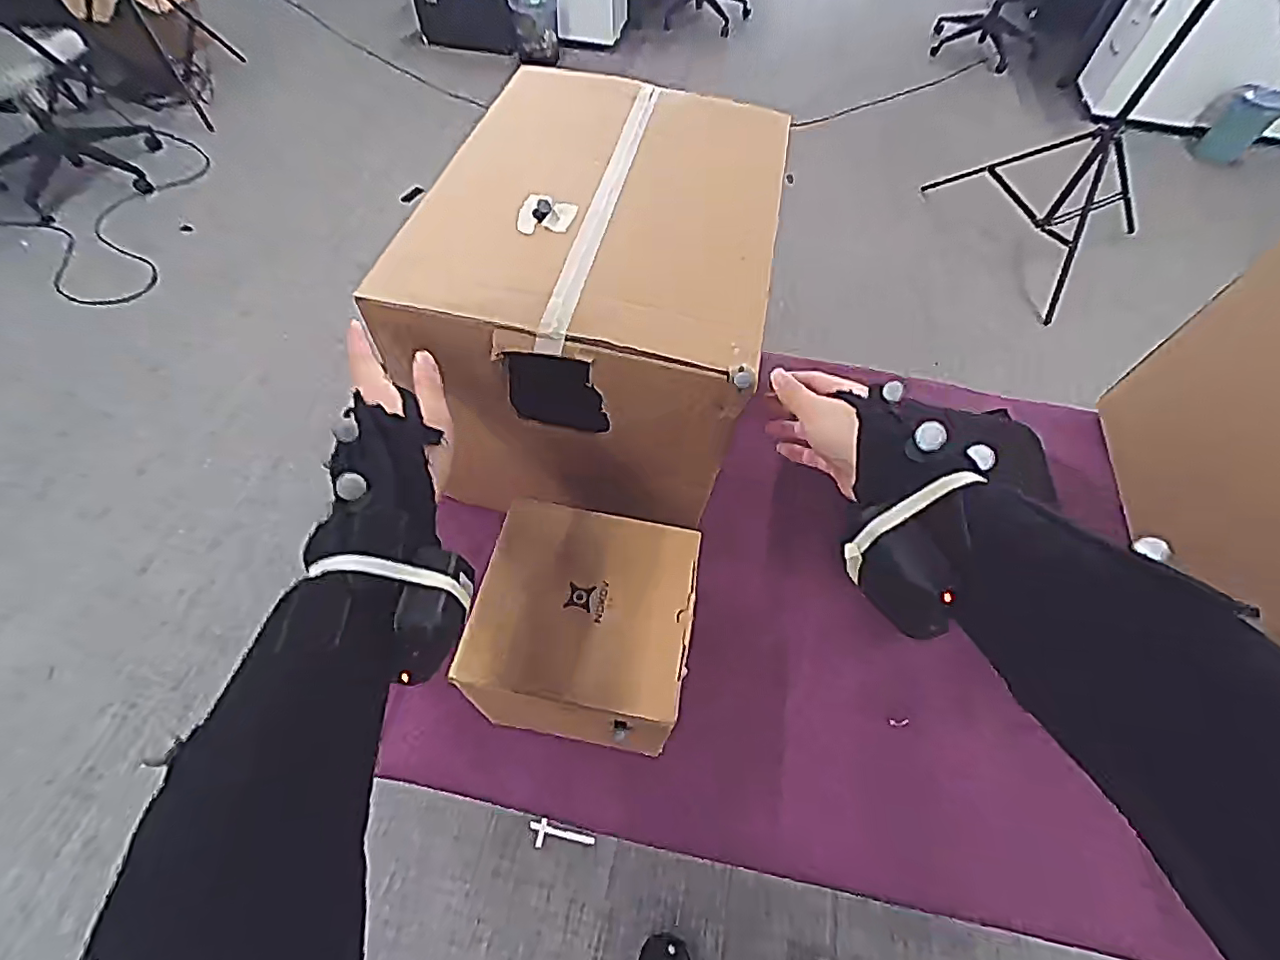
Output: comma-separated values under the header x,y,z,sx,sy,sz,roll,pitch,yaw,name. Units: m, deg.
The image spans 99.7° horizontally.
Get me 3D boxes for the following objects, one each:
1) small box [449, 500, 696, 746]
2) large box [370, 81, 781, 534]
x,y,z,sx,sy,sz,roll,pitch,yaw,name
-0.052,0.142,0.515,0.179,0.176,0.168,10,56,2,small box
-0.038,-0.183,0.640,0.320,0.320,0.408,11,60,3,large box
